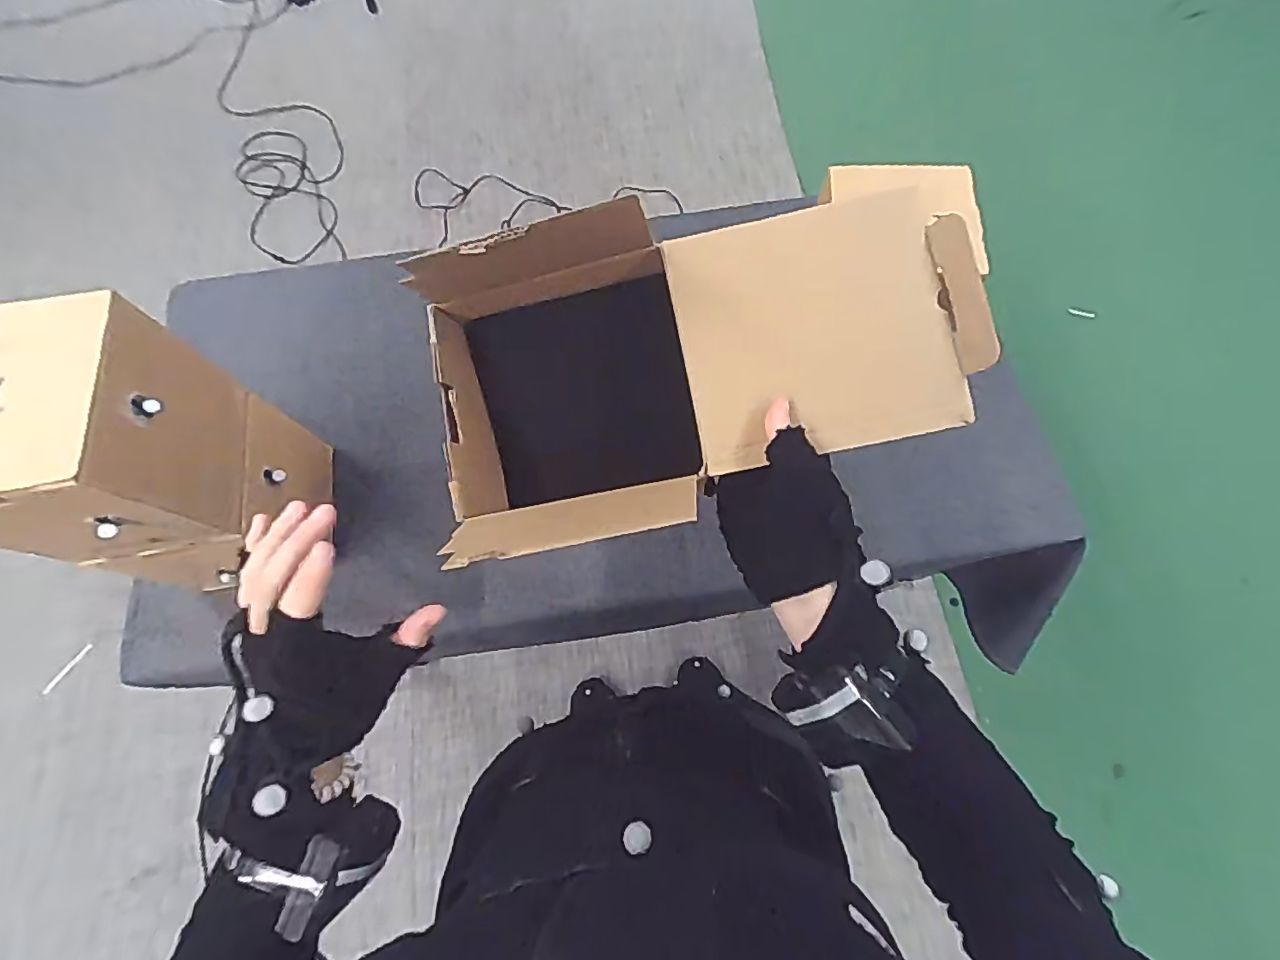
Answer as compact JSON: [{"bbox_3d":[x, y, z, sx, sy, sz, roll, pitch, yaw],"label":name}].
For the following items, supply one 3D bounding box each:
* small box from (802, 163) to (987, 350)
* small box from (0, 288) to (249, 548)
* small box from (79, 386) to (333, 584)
[{"bbox_3d":[0.320,-0.289,0.724,0.179,0.176,0.168,3,71,3],"label":"small box"},{"bbox_3d":[-0.498,-0.041,0.493,0.168,0.176,0.179,-9,70,-2],"label":"small box"},{"bbox_3d":[-0.493,0.014,0.647,0.168,0.176,0.179,-10,71,-2],"label":"small box"}]
